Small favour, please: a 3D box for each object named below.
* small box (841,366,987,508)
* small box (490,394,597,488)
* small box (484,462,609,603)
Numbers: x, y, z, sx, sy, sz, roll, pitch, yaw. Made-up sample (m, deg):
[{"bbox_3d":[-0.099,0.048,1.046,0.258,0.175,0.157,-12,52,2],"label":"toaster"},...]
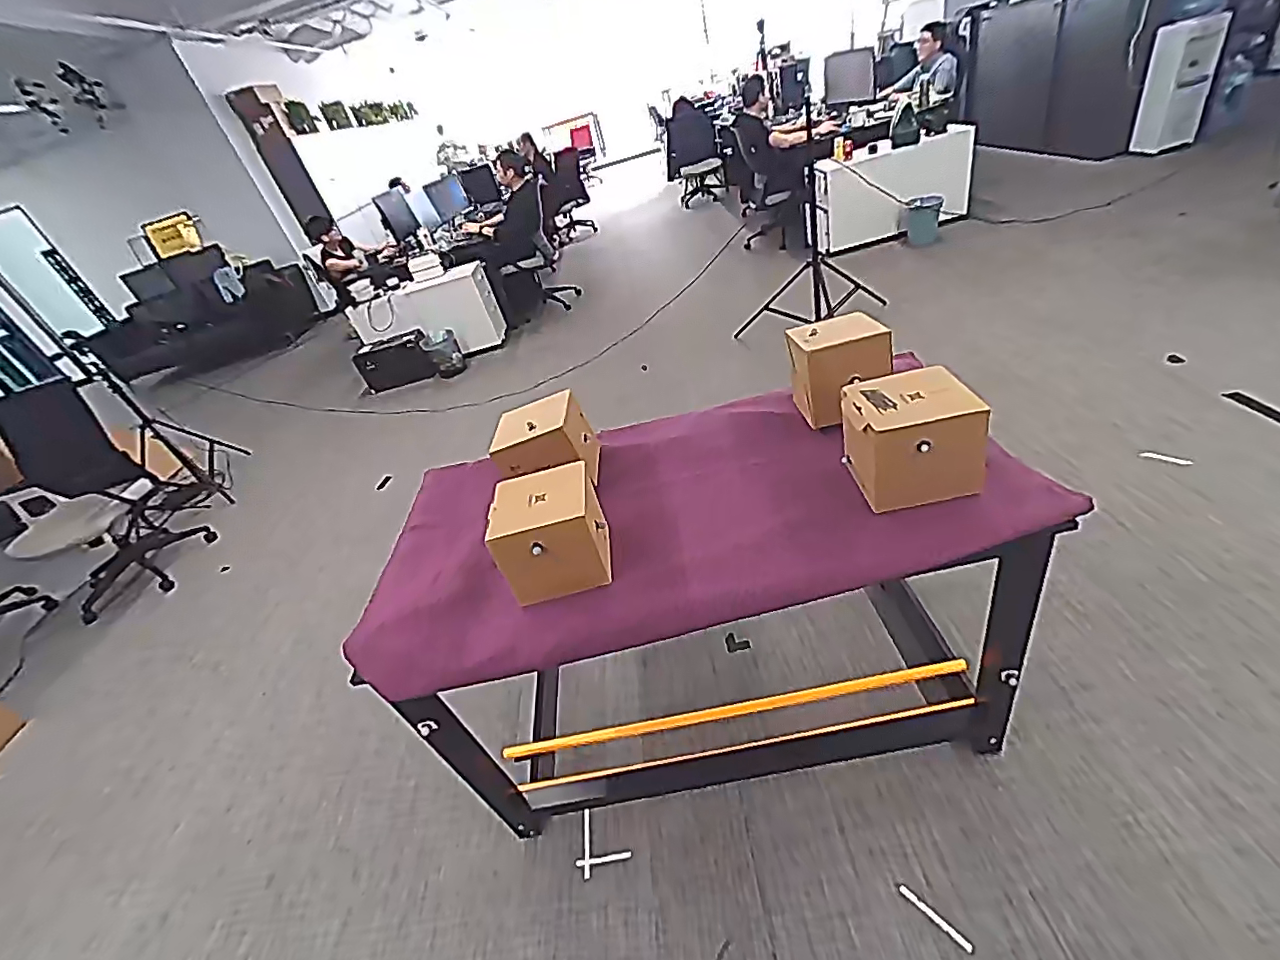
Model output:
[{"bbox_3d":[0.464,-0.071,0.937,0.179,0.176,0.168,-12,34,7],"label":"small box"},{"bbox_3d":[-0.204,-0.068,1.201,0.179,0.168,0.176,-18,33,12],"label":"small box"},{"bbox_3d":[-0.158,0.096,0.985,0.179,0.176,0.168,-15,35,4],"label":"small box"}]
